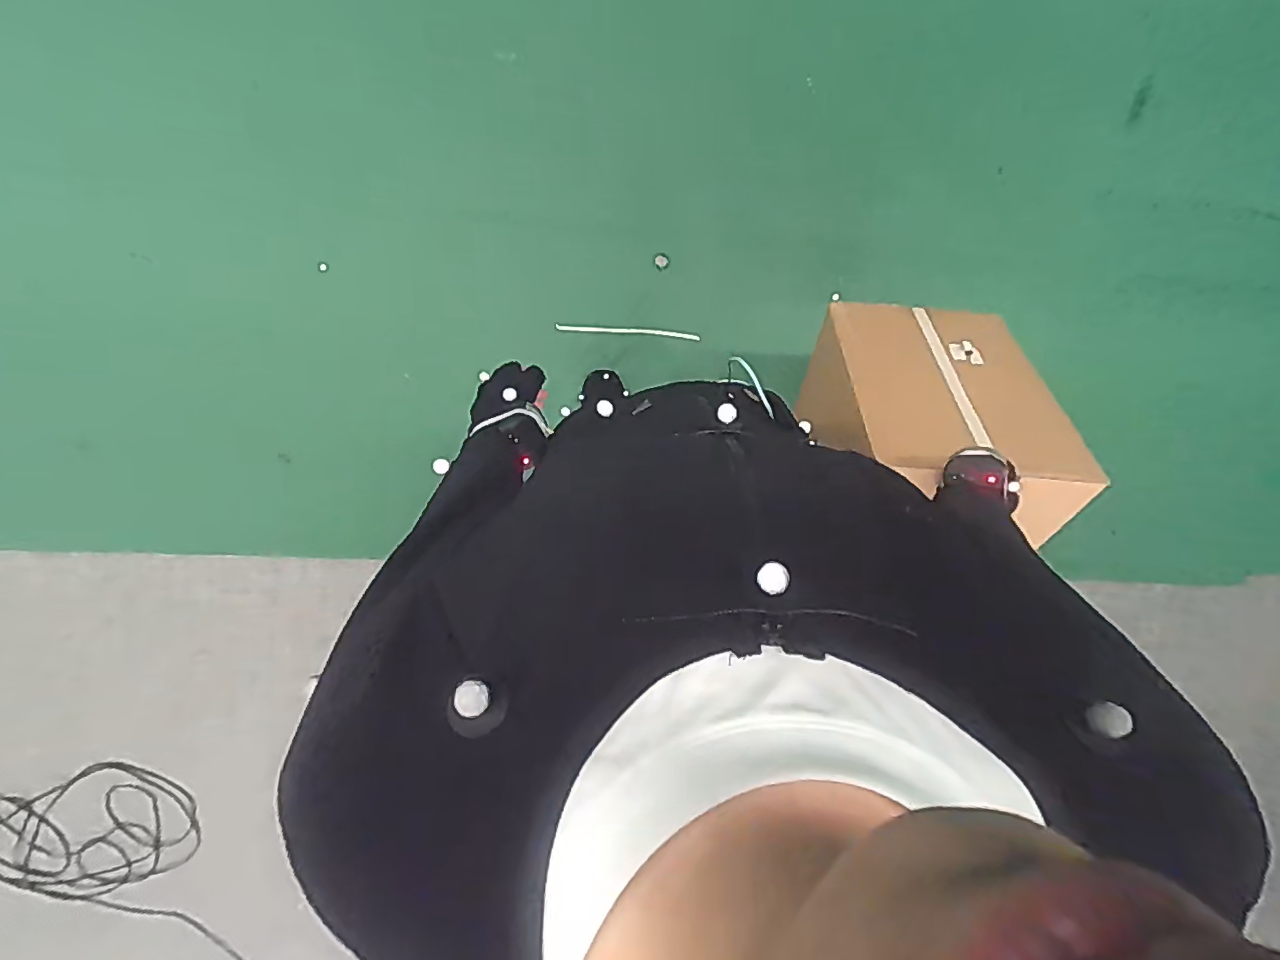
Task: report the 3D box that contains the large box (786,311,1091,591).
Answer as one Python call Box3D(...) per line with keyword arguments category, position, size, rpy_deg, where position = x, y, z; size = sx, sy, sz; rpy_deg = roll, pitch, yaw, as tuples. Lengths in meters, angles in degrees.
Box3D(category="large box", position=(0.471, -0.053, 0.978), size=(0.320, 0.408, 0.320), rpy_deg=(6, 138, 0))
